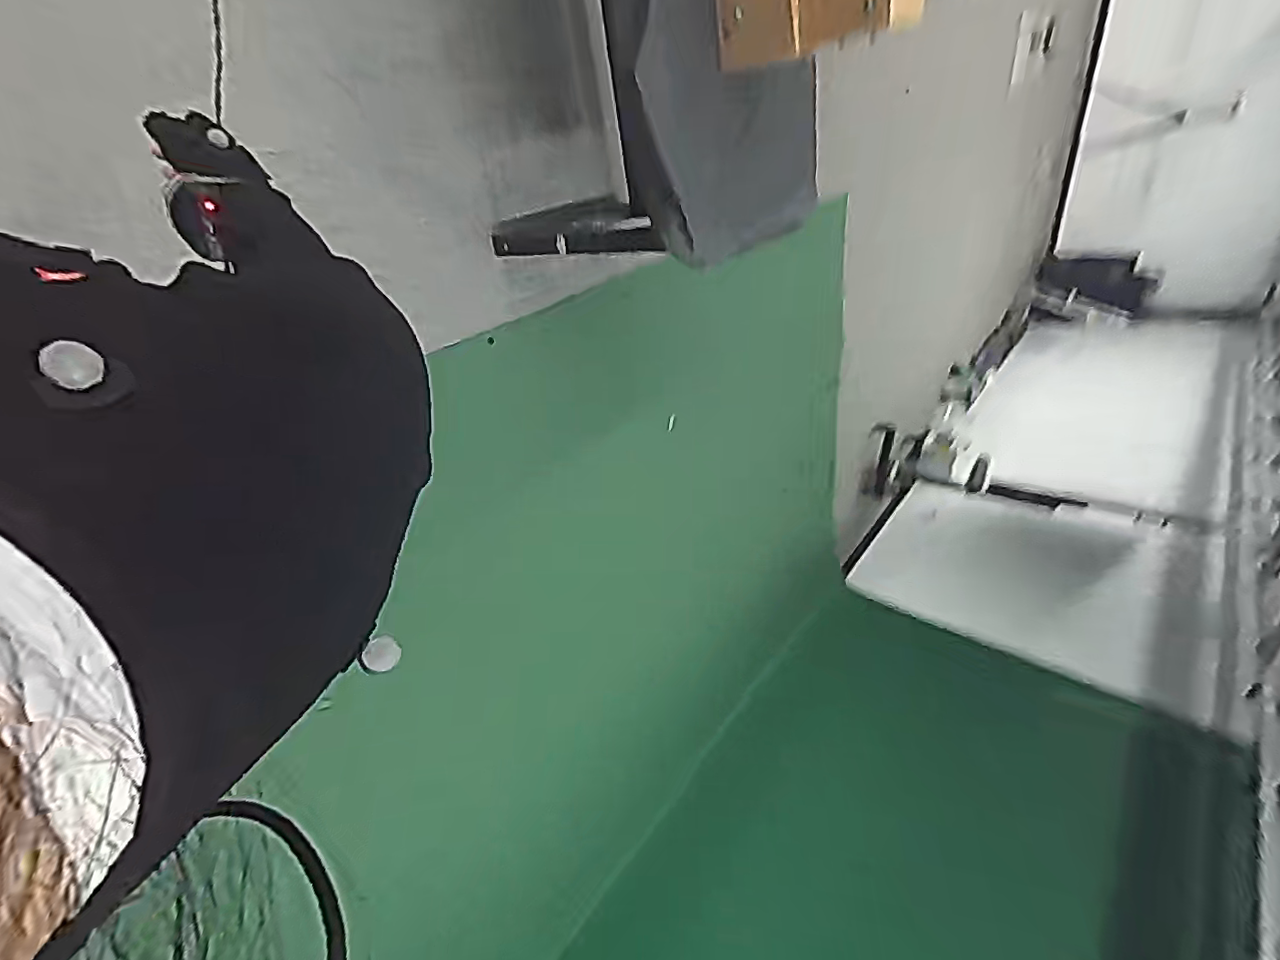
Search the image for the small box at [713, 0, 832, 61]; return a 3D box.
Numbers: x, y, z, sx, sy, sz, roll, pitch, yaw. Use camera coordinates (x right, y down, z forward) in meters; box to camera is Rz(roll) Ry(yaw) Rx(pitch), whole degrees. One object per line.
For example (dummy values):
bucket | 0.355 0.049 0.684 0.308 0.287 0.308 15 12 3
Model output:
small box | 0.258 -0.946 1.057 0.179 0.176 0.168 -40 130 -34
